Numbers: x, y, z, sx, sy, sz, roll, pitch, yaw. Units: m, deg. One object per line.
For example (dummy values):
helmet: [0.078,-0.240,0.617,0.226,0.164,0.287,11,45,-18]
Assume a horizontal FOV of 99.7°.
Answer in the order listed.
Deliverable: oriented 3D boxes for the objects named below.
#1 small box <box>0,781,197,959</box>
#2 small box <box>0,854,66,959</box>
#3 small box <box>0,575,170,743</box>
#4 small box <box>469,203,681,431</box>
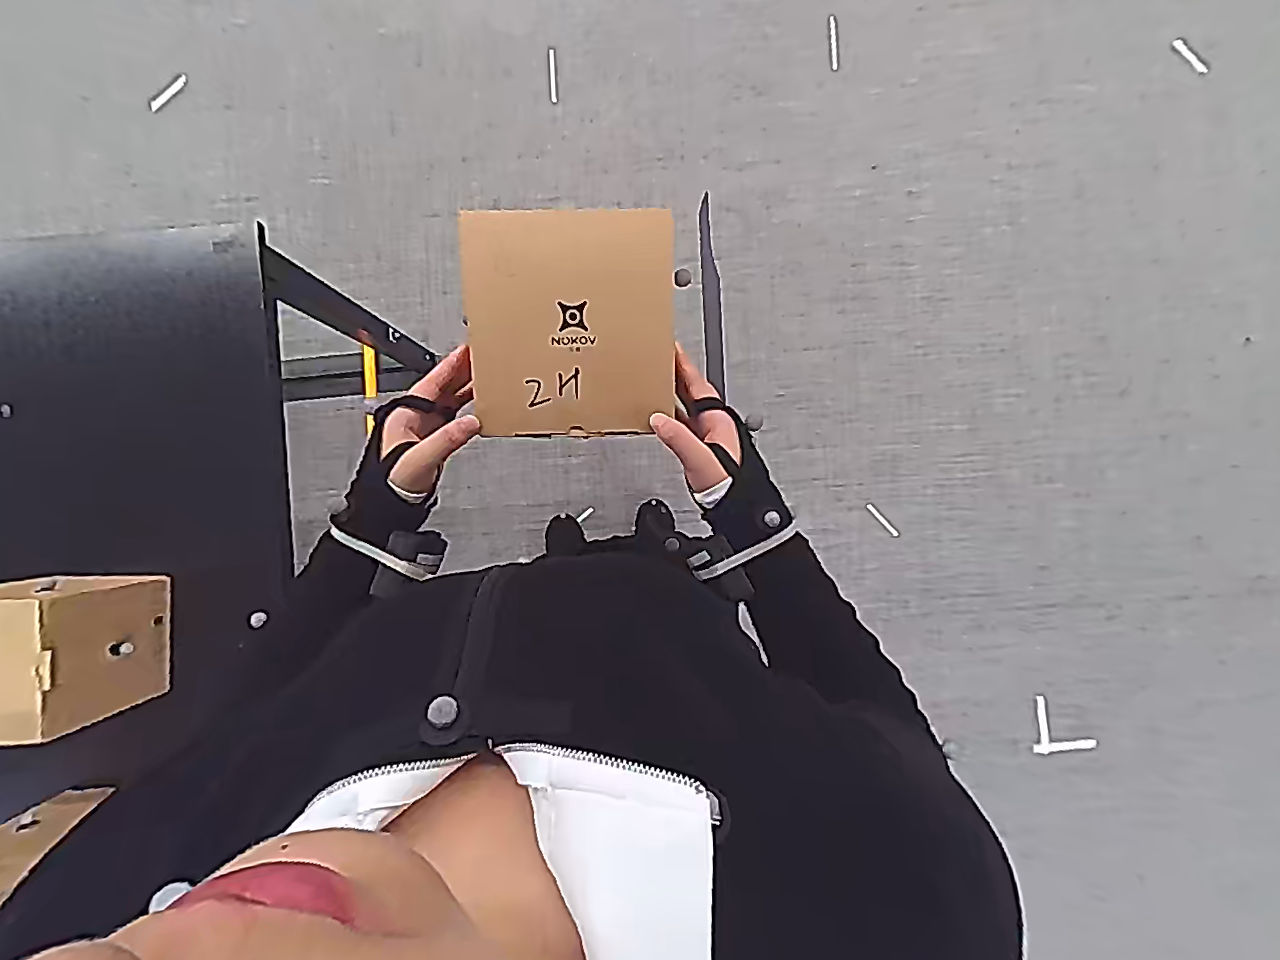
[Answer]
small box: [-0.717,0.510,0.685,0.179,0.176,0.168,-4,90,-1]
small box: [-0.715,0.506,0.520,0.168,0.176,0.179,-5,89,0]
small box: [-0.753,0.216,0.691,0.179,0.176,0.168,-1,89,0]
small box: [-0.052,-0.142,0.509,0.168,0.176,0.179,-1,102,-1]
